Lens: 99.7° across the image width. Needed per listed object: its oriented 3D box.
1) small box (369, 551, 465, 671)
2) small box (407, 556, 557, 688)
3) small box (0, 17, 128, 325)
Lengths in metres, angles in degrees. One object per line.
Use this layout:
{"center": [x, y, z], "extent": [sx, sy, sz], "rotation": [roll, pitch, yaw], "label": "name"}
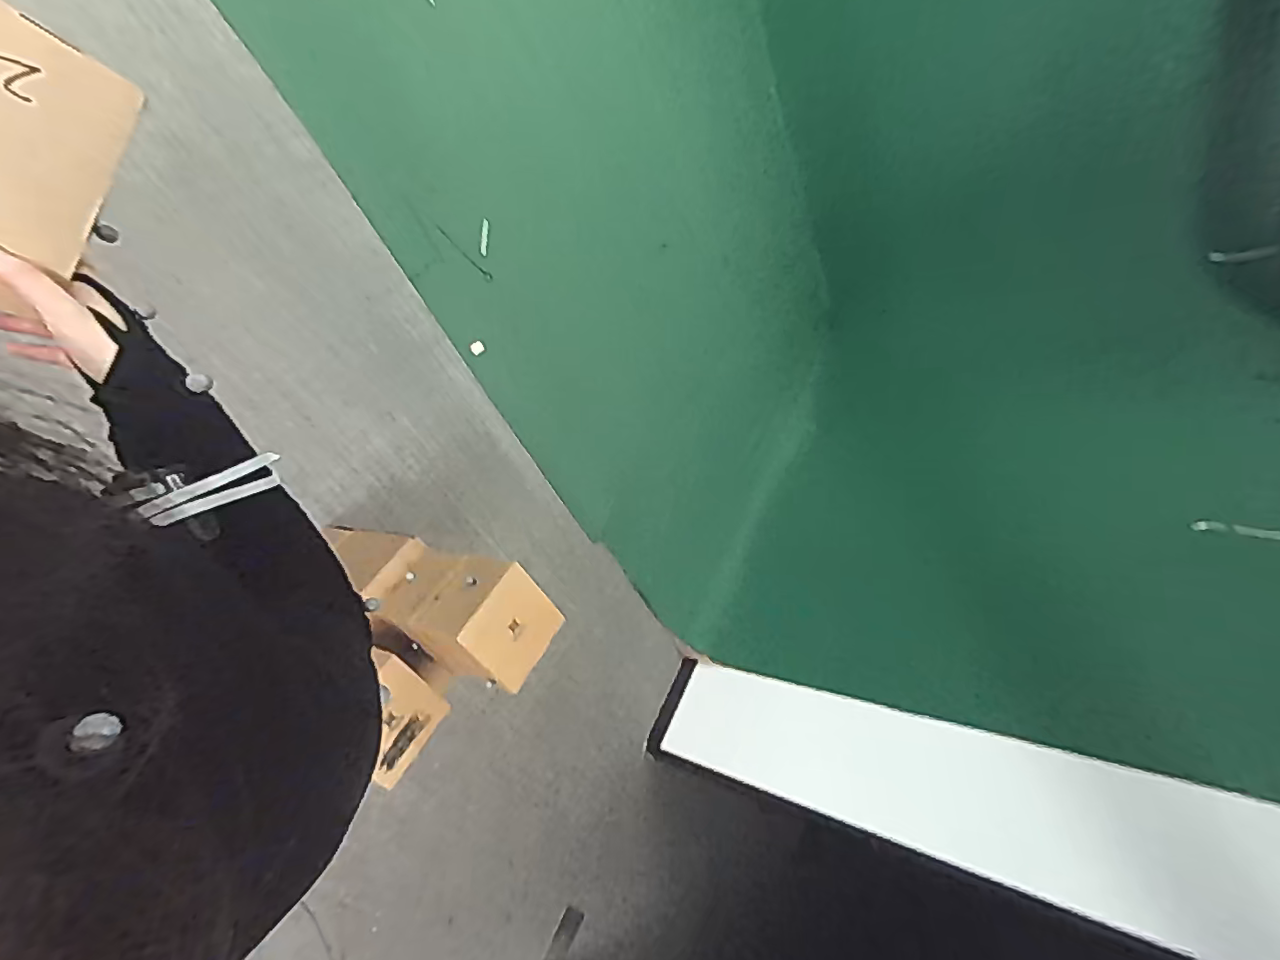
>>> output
{"center": [-0.420, 0.265, 1.132], "extent": [0.168, 0.176, 0.179], "rotation": [-54, 128, -34], "label": "small box"}
{"center": [-0.299, 0.259, 1.022], "extent": [0.168, 0.176, 0.179], "rotation": [-55, 130, -33], "label": "small box"}
{"center": [-0.486, -0.225, 0.360], "extent": [0.168, 0.176, 0.179], "rotation": [23, 88, -50], "label": "small box"}
